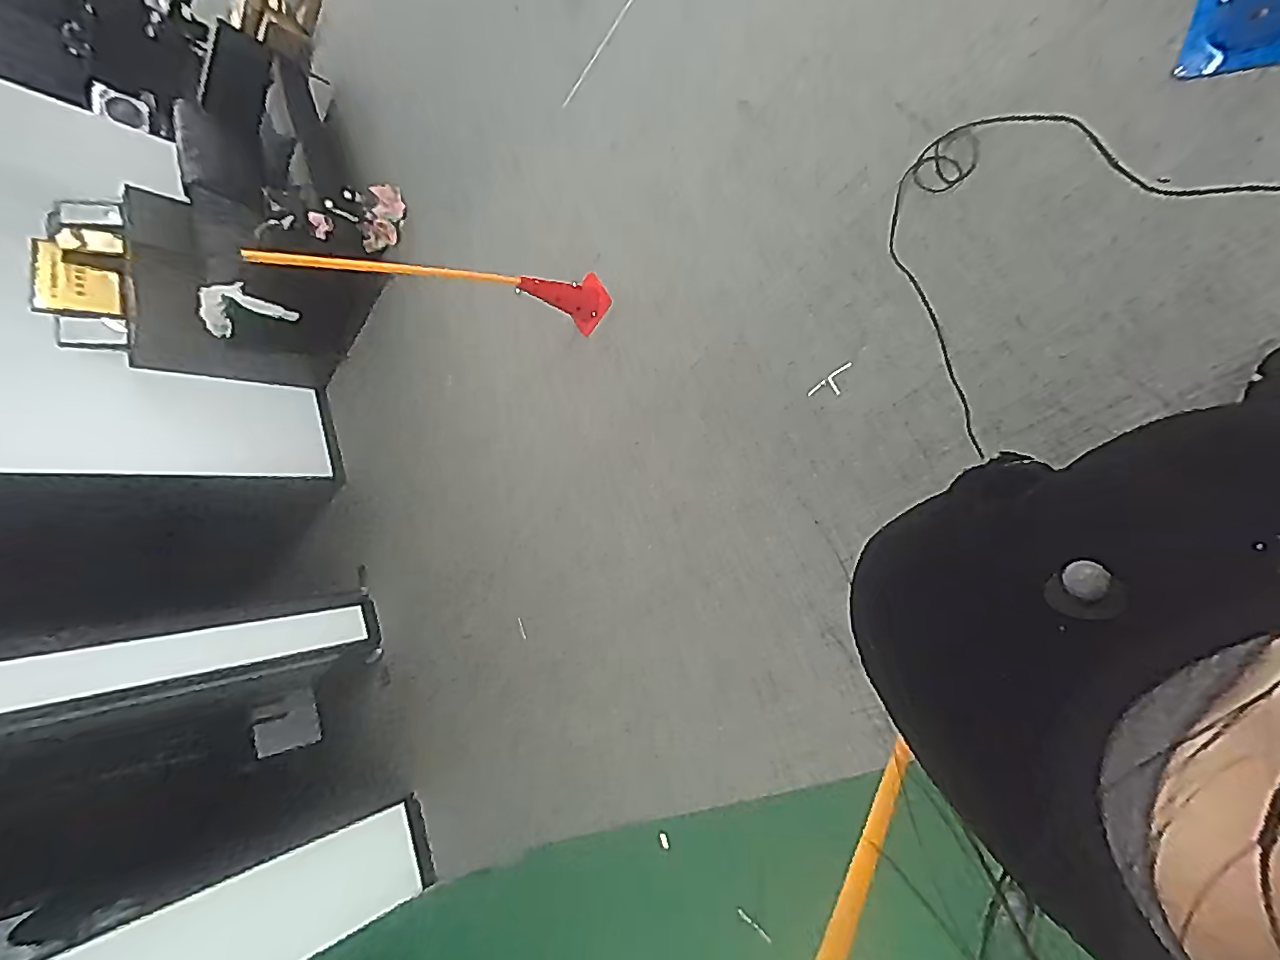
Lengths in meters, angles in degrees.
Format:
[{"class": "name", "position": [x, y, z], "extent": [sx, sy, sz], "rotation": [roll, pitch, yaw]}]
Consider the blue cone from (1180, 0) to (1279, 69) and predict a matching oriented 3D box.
[{"class": "blue cone", "position": [1.050, -0.890, 0.888], "extent": [0.192, 0.380, 0.193], "rotation": [18, 99, 40]}]
